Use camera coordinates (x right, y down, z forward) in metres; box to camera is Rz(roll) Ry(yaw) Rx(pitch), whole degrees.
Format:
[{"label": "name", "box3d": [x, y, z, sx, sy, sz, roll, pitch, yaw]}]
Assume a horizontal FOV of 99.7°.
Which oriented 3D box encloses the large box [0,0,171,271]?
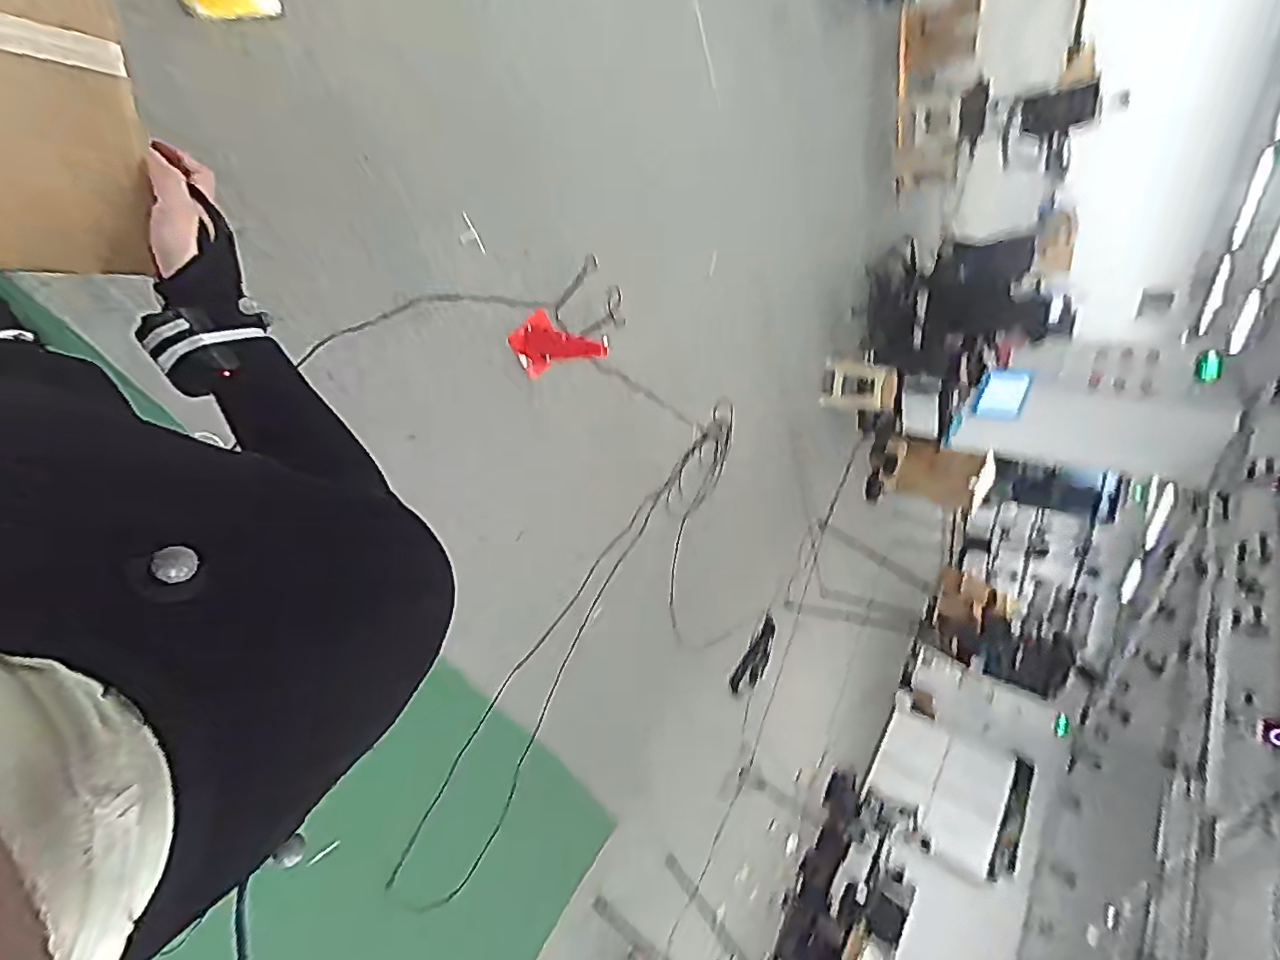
[{"label": "large box", "box3d": [-0.638, -0.336, 0.360, 0.408, 0.320, 0.320, -20, 130, -47]}]
